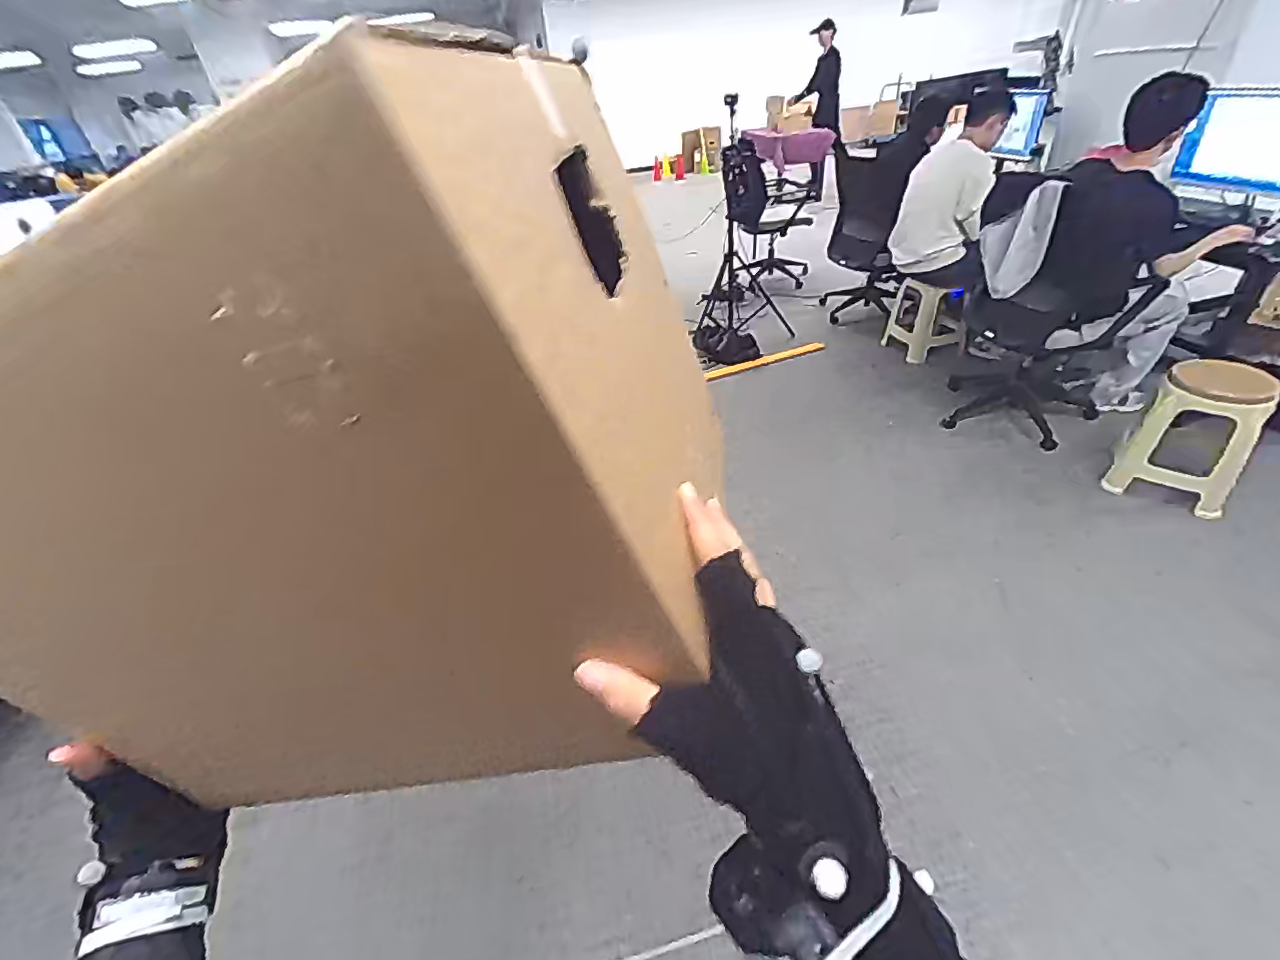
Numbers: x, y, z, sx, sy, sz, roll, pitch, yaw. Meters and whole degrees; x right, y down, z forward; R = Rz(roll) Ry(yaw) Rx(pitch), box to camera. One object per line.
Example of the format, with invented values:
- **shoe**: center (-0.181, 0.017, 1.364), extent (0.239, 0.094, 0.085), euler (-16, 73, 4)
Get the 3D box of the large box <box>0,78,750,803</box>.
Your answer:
- **large box**: center (-0.166, -0.015, 0.387), extent (0.408, 0.320, 0.320), euler (-16, 34, 16)
